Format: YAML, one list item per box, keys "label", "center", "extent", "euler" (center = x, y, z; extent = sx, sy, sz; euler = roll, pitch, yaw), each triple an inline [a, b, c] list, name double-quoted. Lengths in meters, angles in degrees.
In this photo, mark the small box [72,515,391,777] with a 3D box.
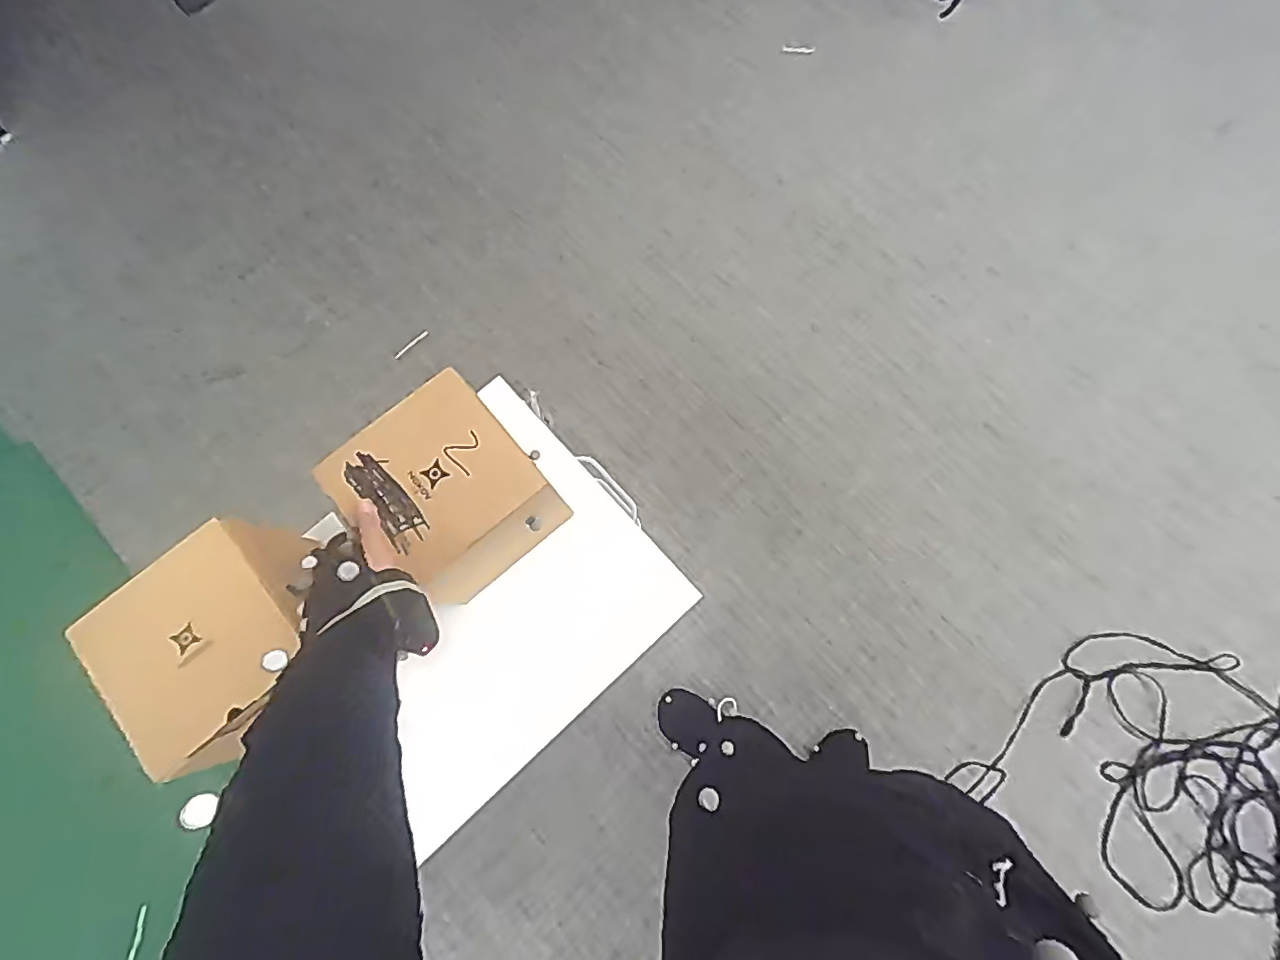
- label: "small box"
  center: [-0.407, 0.166, 0.571]
  extent: [0.168, 0.176, 0.179]
  euler: [-41, 79, -9]
